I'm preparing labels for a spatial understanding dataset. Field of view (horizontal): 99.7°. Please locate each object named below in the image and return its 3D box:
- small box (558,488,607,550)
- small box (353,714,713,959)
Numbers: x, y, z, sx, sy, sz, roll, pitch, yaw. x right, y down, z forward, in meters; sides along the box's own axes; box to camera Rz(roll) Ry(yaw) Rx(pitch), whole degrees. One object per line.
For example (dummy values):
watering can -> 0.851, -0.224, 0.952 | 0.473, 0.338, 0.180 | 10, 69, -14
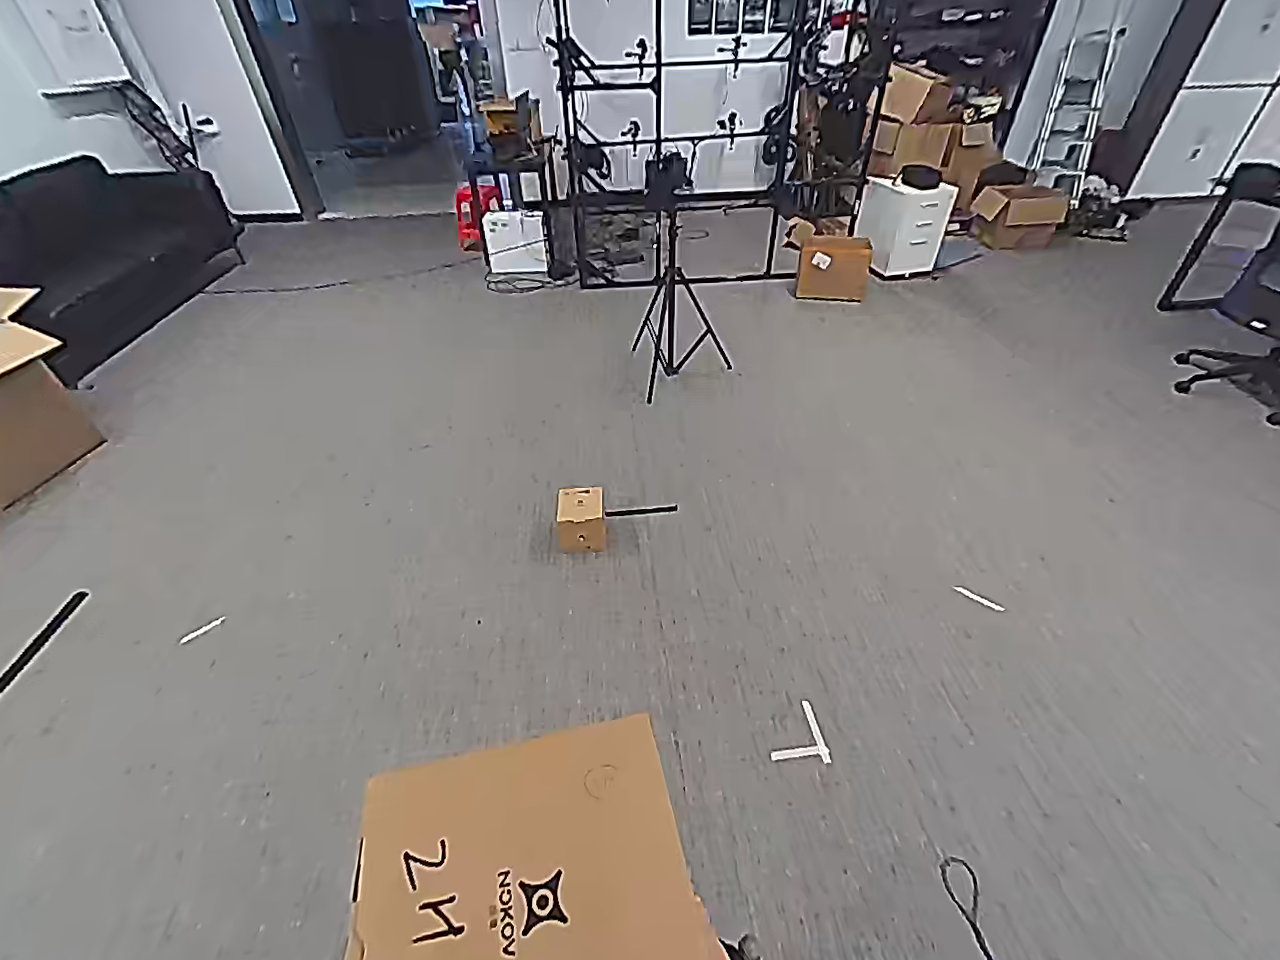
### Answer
small box -> -0.214, 0.153, 2.048 | 0.168, 0.176, 0.179 | -3, 41, -1
small box -> -0.062, 0.276, 0.340 | 0.179, 0.176, 0.168 | -8, 46, -11
